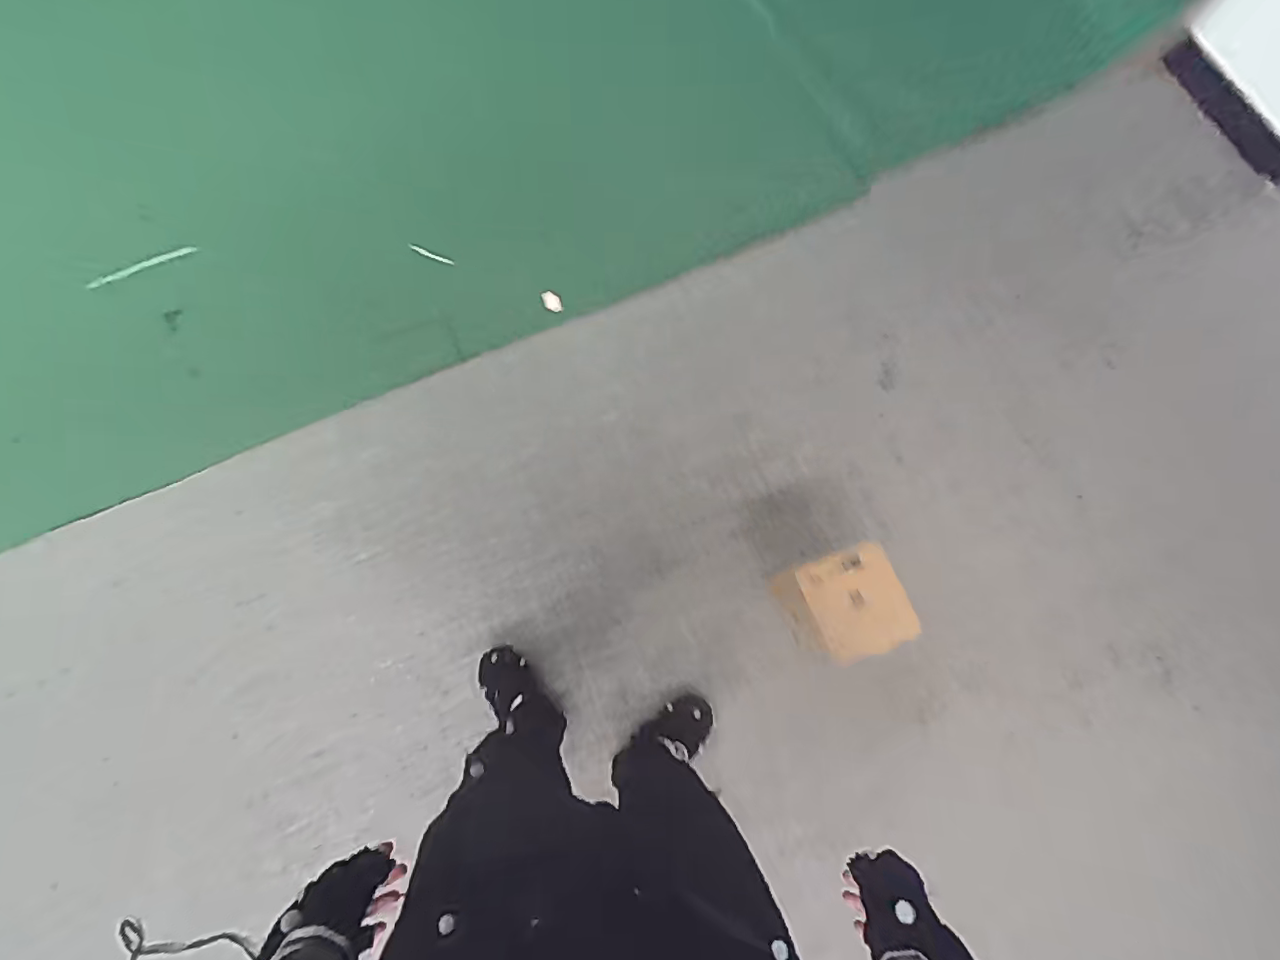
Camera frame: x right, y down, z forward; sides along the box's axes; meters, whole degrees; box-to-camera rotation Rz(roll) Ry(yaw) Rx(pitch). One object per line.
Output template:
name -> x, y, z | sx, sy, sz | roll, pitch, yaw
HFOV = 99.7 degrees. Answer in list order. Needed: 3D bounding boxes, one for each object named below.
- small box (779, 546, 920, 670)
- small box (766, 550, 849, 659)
small box -> 0.382, 0.236, 1.019 | 0.168, 0.176, 0.179 | -20, 78, -2
small box -> 0.396, 0.269, 1.179 | 0.168, 0.176, 0.179 | -23, 76, -3
